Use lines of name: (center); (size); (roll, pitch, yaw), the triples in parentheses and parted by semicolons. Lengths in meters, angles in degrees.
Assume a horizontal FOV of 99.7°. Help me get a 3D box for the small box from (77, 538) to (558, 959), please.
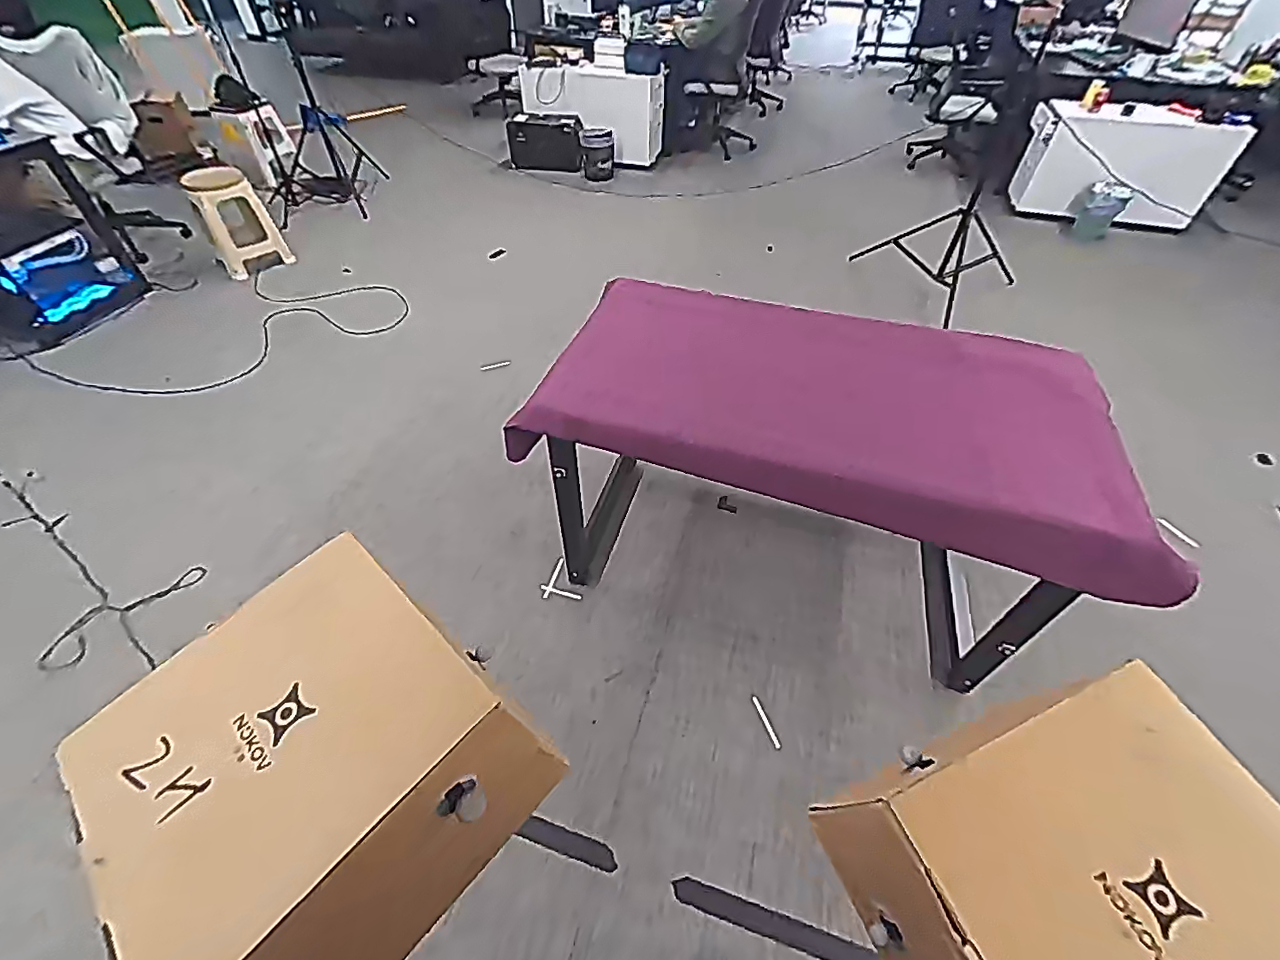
small box: (-0.170, 0.177, 0.341); (0.168, 0.176, 0.179); (33, 64, 29)

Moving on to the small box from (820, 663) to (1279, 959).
small box: (0.238, 0.236, 0.319); (0.179, 0.176, 0.168); (-22, 59, -11)
